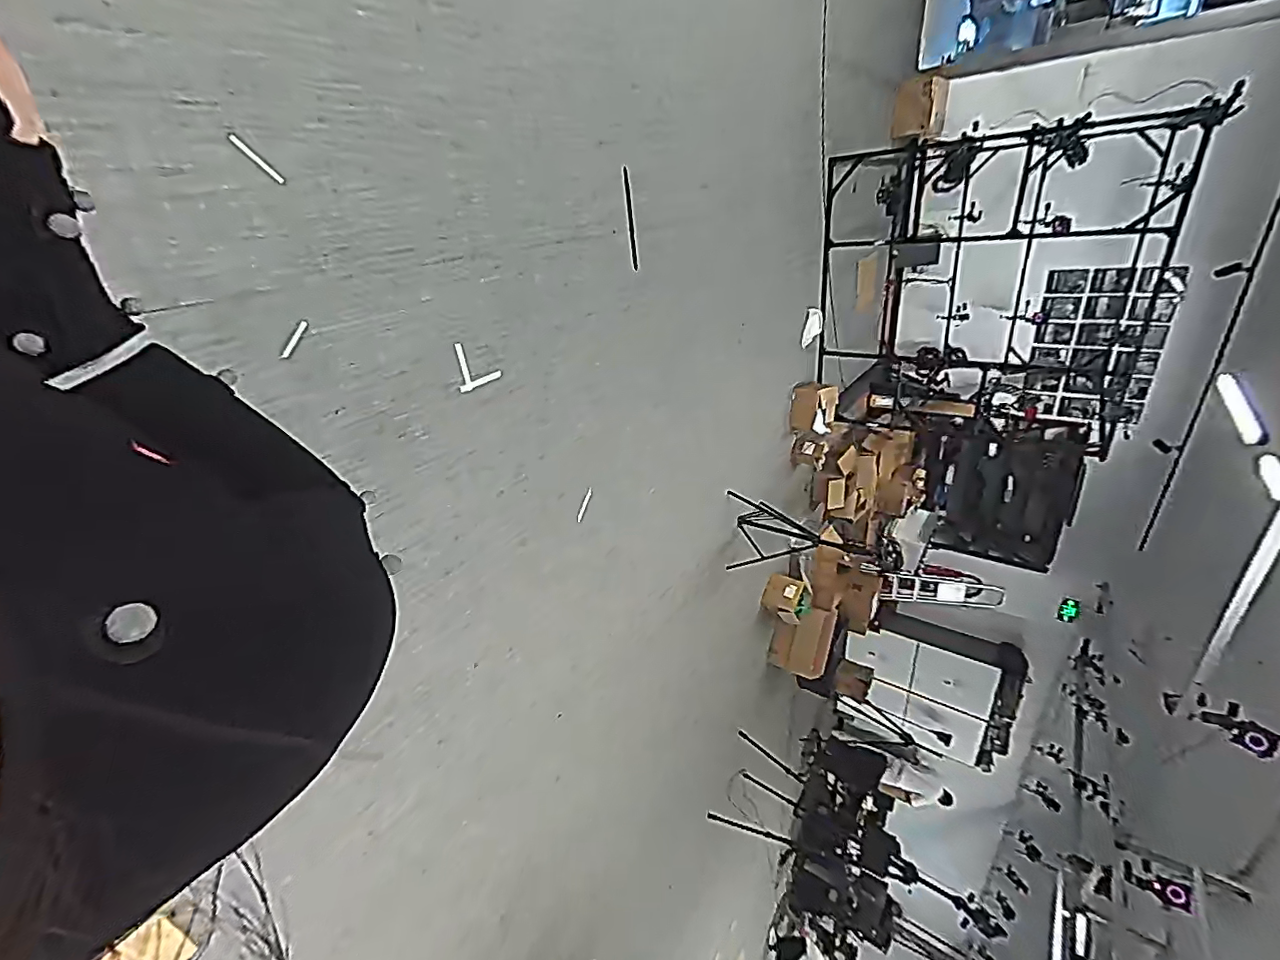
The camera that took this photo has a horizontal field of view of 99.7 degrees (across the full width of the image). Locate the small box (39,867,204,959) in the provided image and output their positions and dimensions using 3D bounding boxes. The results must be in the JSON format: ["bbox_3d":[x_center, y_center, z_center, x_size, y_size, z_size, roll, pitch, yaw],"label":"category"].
[{"bbox_3d":[-1.057,0.951,1.106,0.179,0.176,0.168,-38,131,-43],"label":"small box"}]
